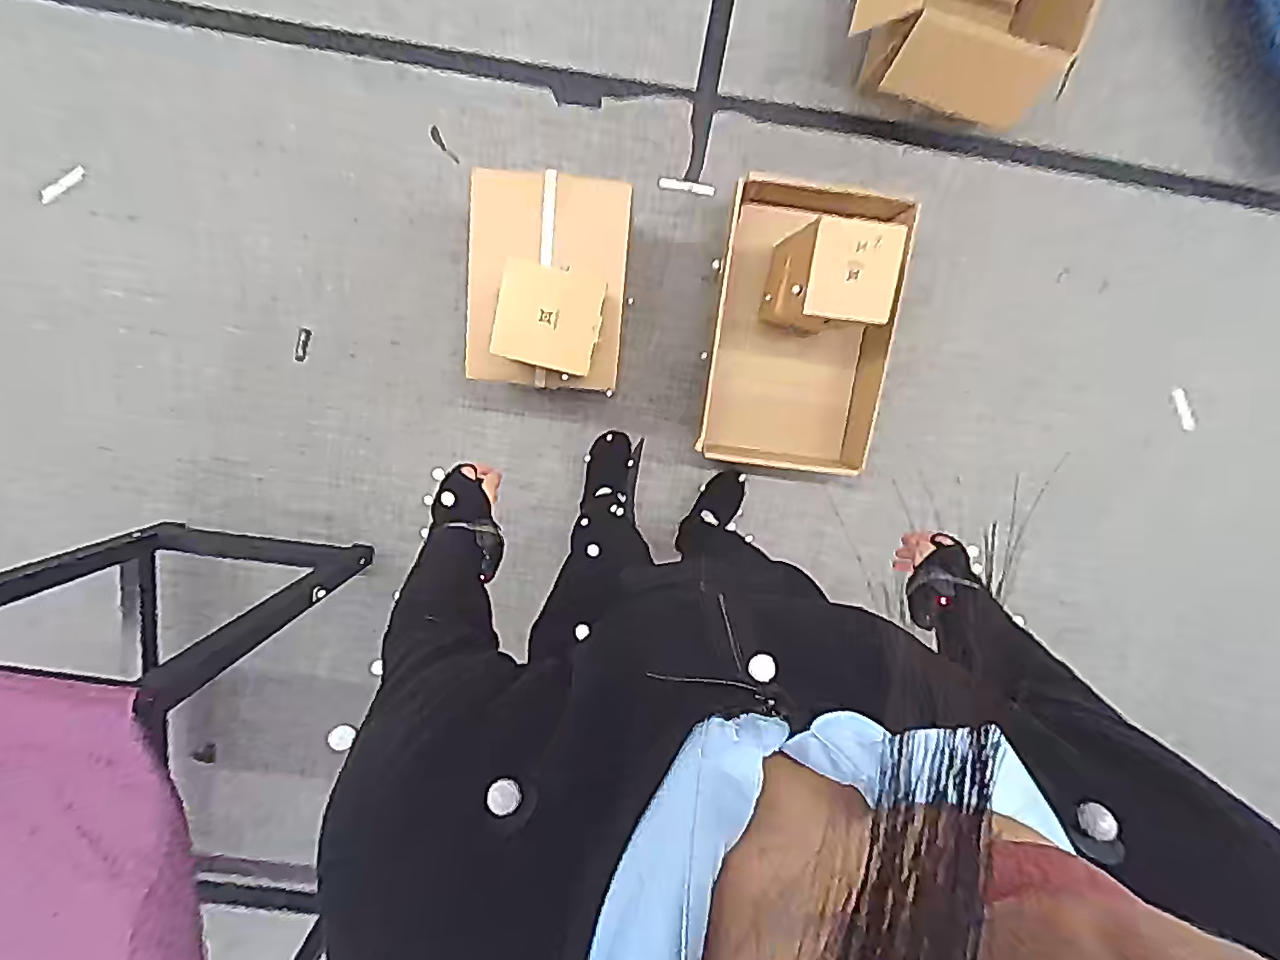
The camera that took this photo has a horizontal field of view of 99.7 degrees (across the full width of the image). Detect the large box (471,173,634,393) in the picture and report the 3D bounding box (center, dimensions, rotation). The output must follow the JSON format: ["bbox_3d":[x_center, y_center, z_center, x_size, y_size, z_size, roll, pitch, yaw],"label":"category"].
[{"bbox_3d":[-0.183,-0.417,1.222,0.320,0.320,0.408,5,102,-1],"label":"large box"}]

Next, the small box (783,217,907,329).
[{"bbox_3d":[0.396,-0.402,1.081,0.168,0.176,0.179,6,103,-3],"label":"small box"}]
